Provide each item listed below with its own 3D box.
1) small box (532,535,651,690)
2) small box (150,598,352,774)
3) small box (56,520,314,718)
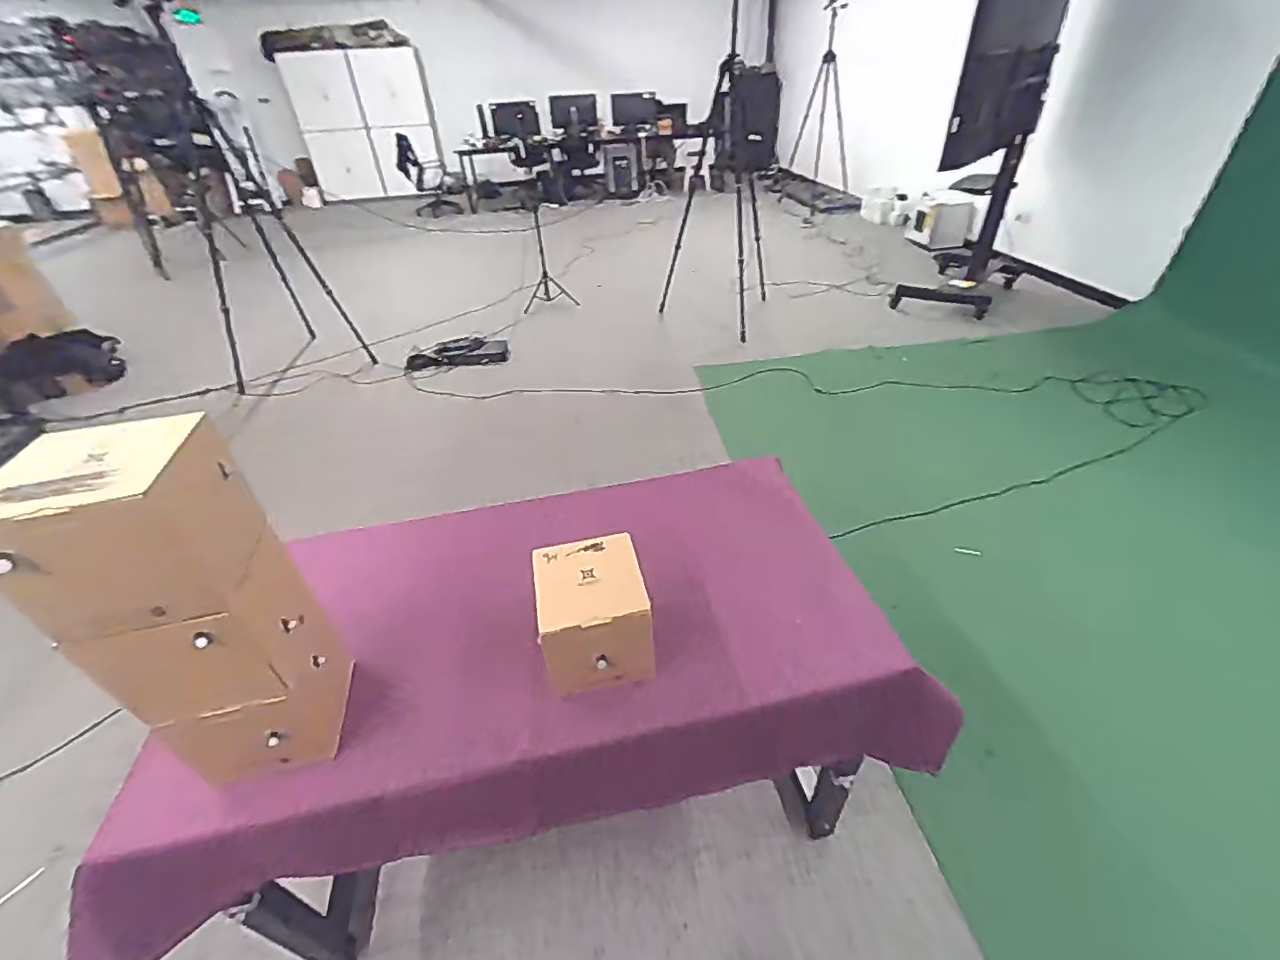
[{"bbox_3d":[-0.079,0.221,0.886,0.168,0.176,0.179,-9,38,-8],"label":"small box"},{"bbox_3d":[-0.553,0.309,0.804,0.168,0.176,0.179,-9,37,-10],"label":"small box"},{"bbox_3d":[-0.564,0.181,0.706,0.179,0.176,0.168,-10,38,-12],"label":"small box"}]
